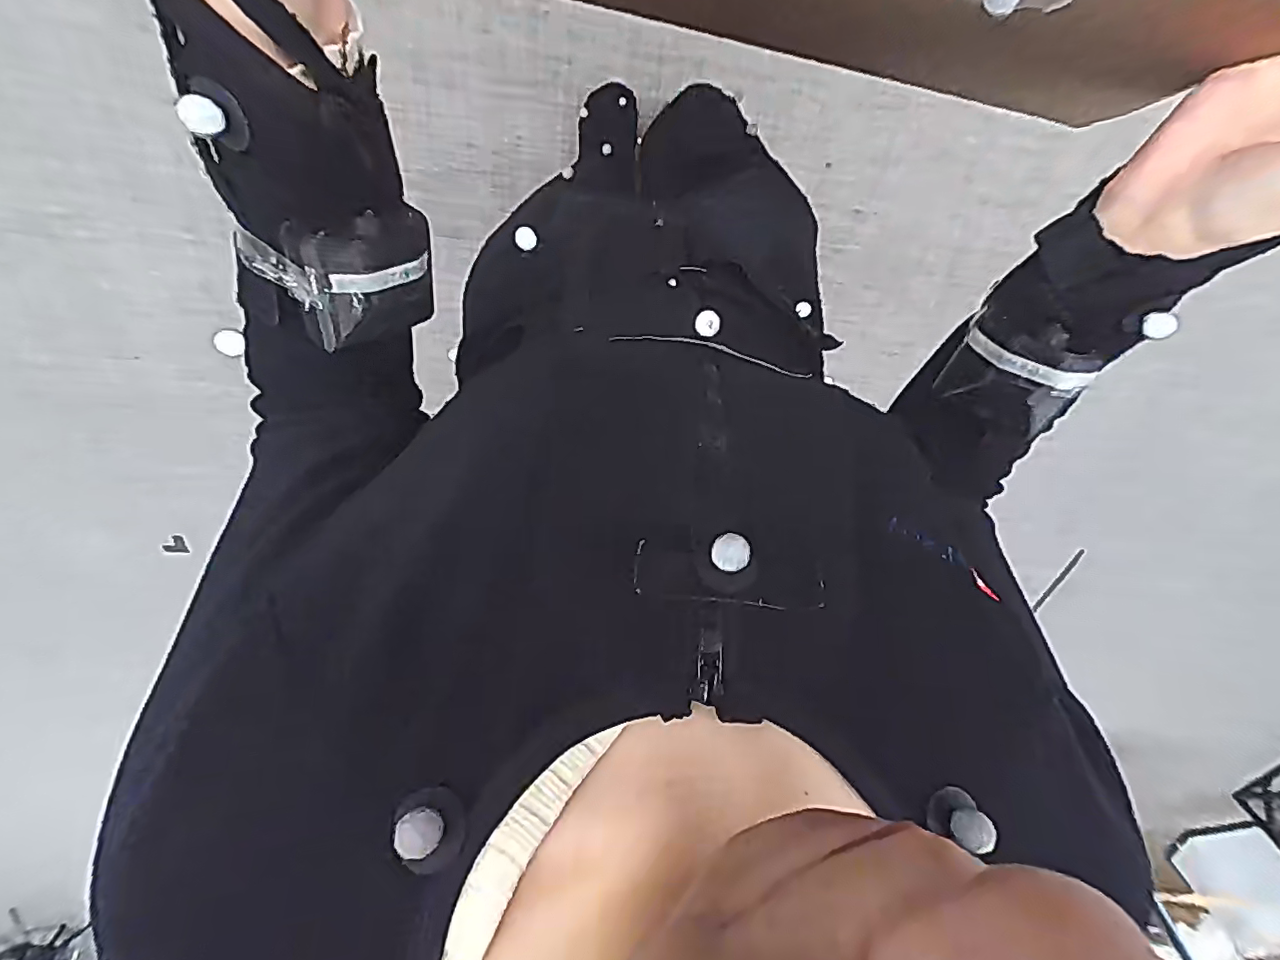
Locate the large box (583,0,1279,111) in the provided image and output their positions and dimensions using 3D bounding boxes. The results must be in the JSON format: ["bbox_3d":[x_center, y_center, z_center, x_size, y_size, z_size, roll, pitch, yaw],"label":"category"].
[{"bbox_3d":[0.094,-0.335,0.105,0.408,0.320,0.320,6,108,-8],"label":"large box"}]
